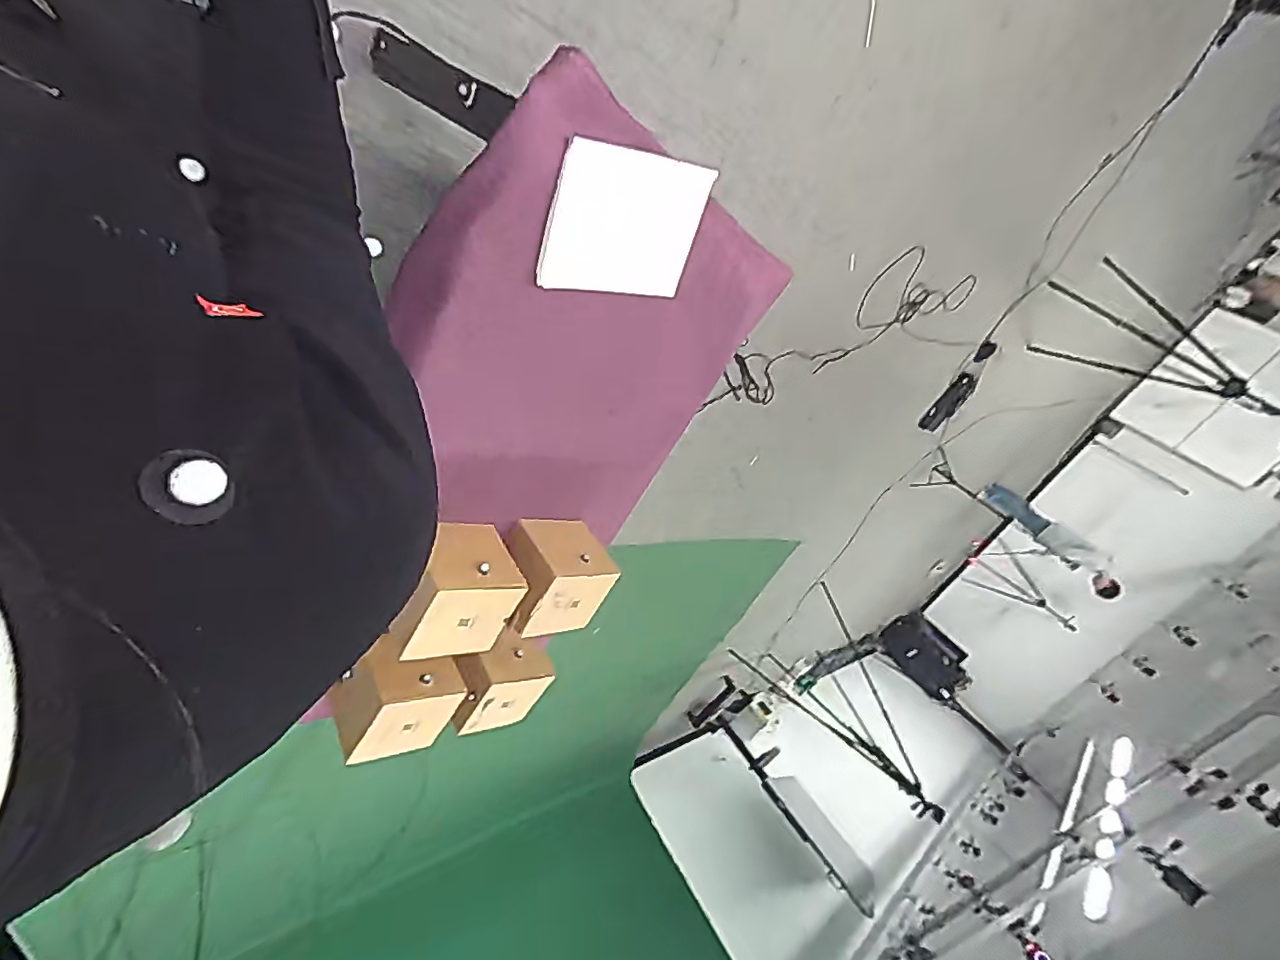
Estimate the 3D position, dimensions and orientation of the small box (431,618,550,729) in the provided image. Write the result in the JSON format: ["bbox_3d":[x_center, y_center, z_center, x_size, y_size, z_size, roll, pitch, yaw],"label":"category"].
[{"bbox_3d":[-0.347,0.437,1.250,0.179,0.176,0.168,13,118,-51],"label":"small box"}]

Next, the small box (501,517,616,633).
[{"bbox_3d":[-0.189,0.192,1.134,0.179,0.176,0.168,8,123,-48],"label":"small box"}]

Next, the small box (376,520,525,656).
[{"bbox_3d":[-0.348,0.189,0.976,0.179,0.176,0.168,11,120,-49],"label":"small box"}]
